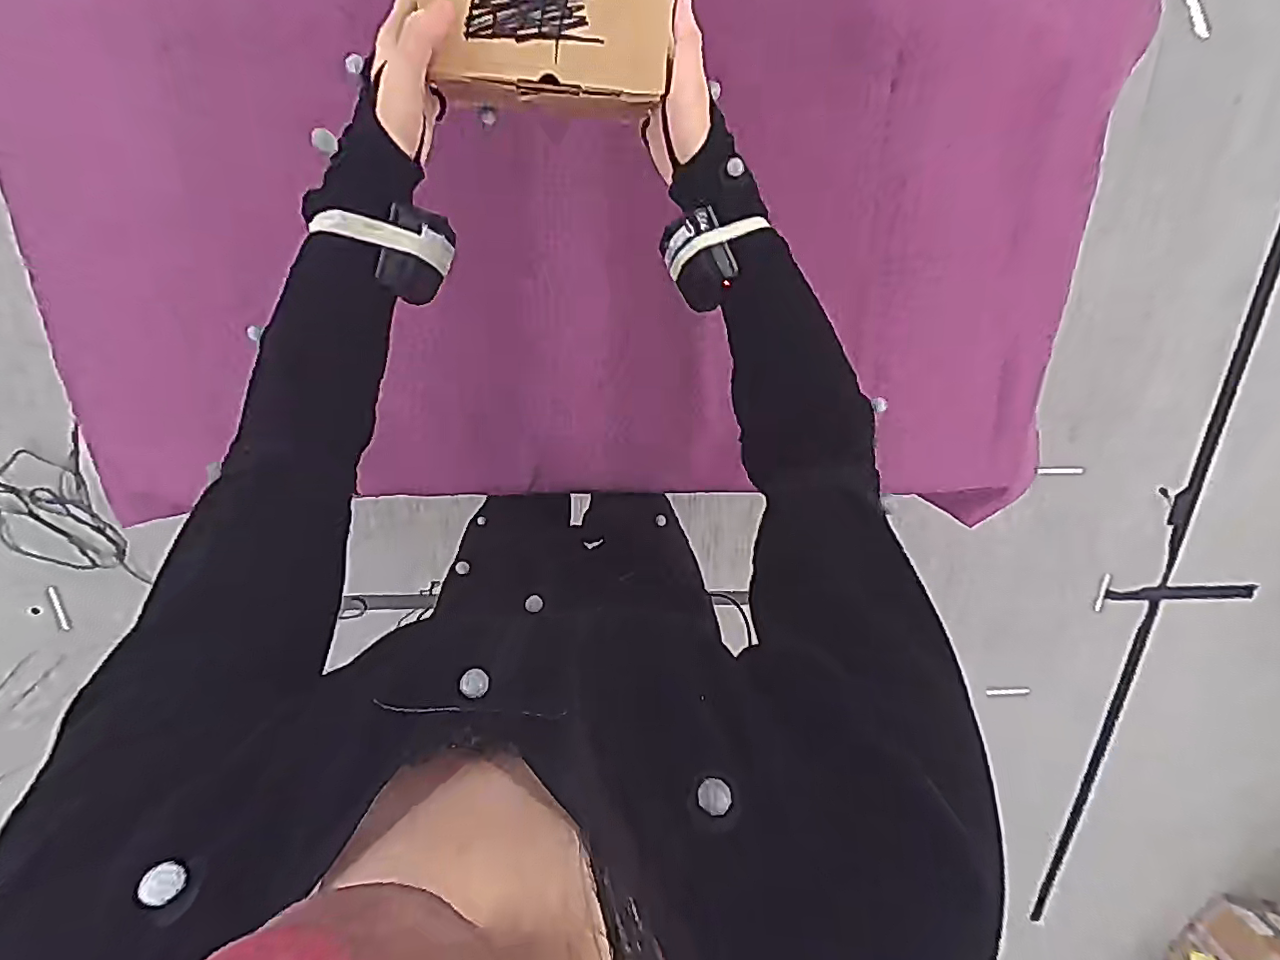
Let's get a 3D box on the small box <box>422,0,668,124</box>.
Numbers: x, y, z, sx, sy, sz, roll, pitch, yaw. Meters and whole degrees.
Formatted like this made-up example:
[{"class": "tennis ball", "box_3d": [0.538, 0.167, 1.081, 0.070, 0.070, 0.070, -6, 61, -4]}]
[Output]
[{"class": "small box", "box_3d": [-0.071, -0.390, 0.415, 0.168, 0.176, 0.179, -1, 117, -10]}]
